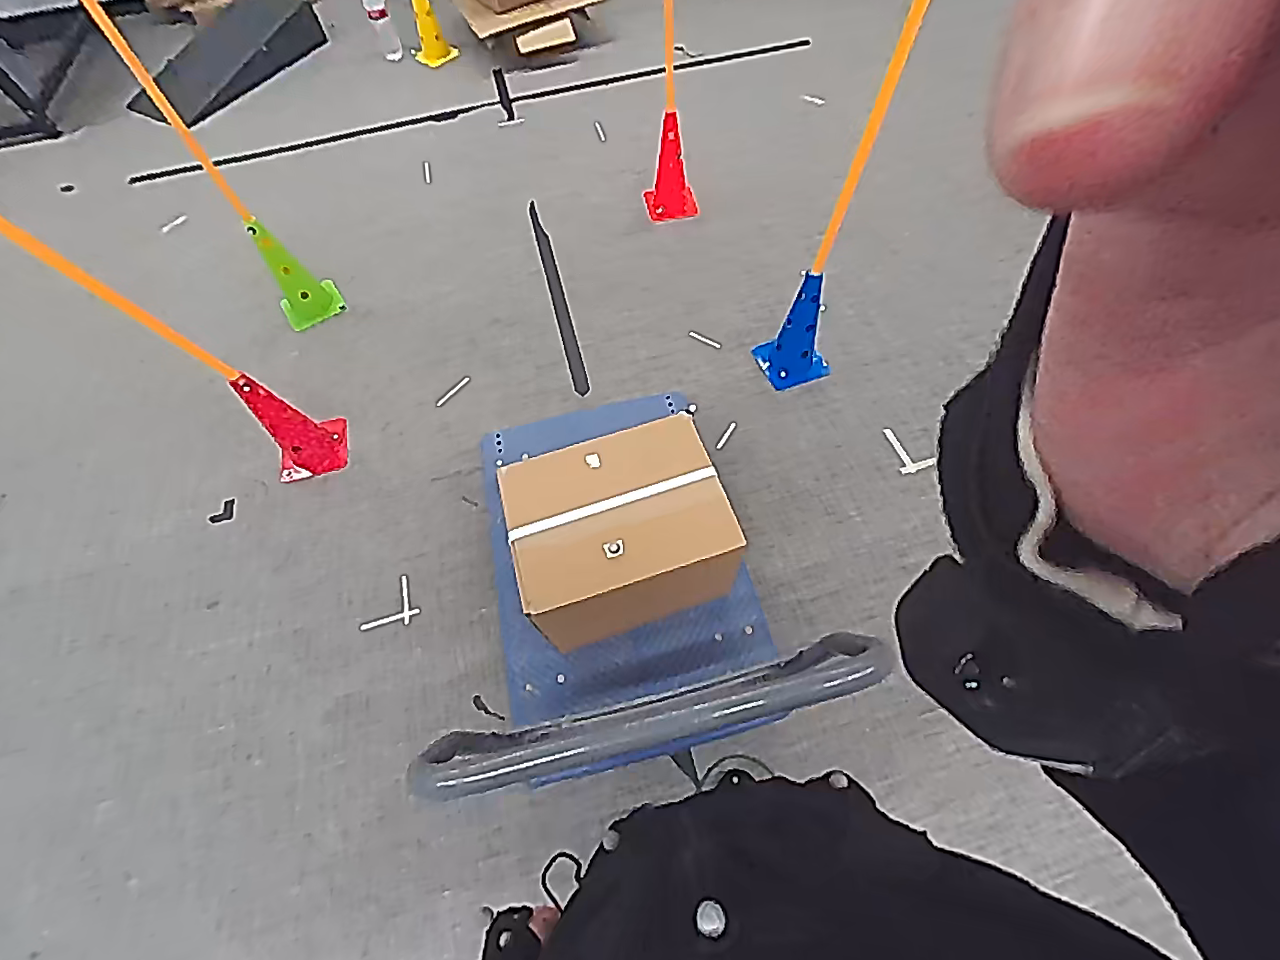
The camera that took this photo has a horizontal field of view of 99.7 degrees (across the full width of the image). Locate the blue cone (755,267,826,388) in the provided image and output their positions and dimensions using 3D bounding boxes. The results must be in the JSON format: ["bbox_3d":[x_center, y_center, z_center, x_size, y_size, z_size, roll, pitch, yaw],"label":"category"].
[{"bbox_3d":[0.488,-0.469,1.636,0.193,0.380,0.192,-18,60,-7],"label":"blue cone"}]

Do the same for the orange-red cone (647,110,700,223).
[{"bbox_3d":[0.126,-1.199,2.045,0.199,0.360,0.198,-9,61,-3],"label":"orange-red cone"}]
